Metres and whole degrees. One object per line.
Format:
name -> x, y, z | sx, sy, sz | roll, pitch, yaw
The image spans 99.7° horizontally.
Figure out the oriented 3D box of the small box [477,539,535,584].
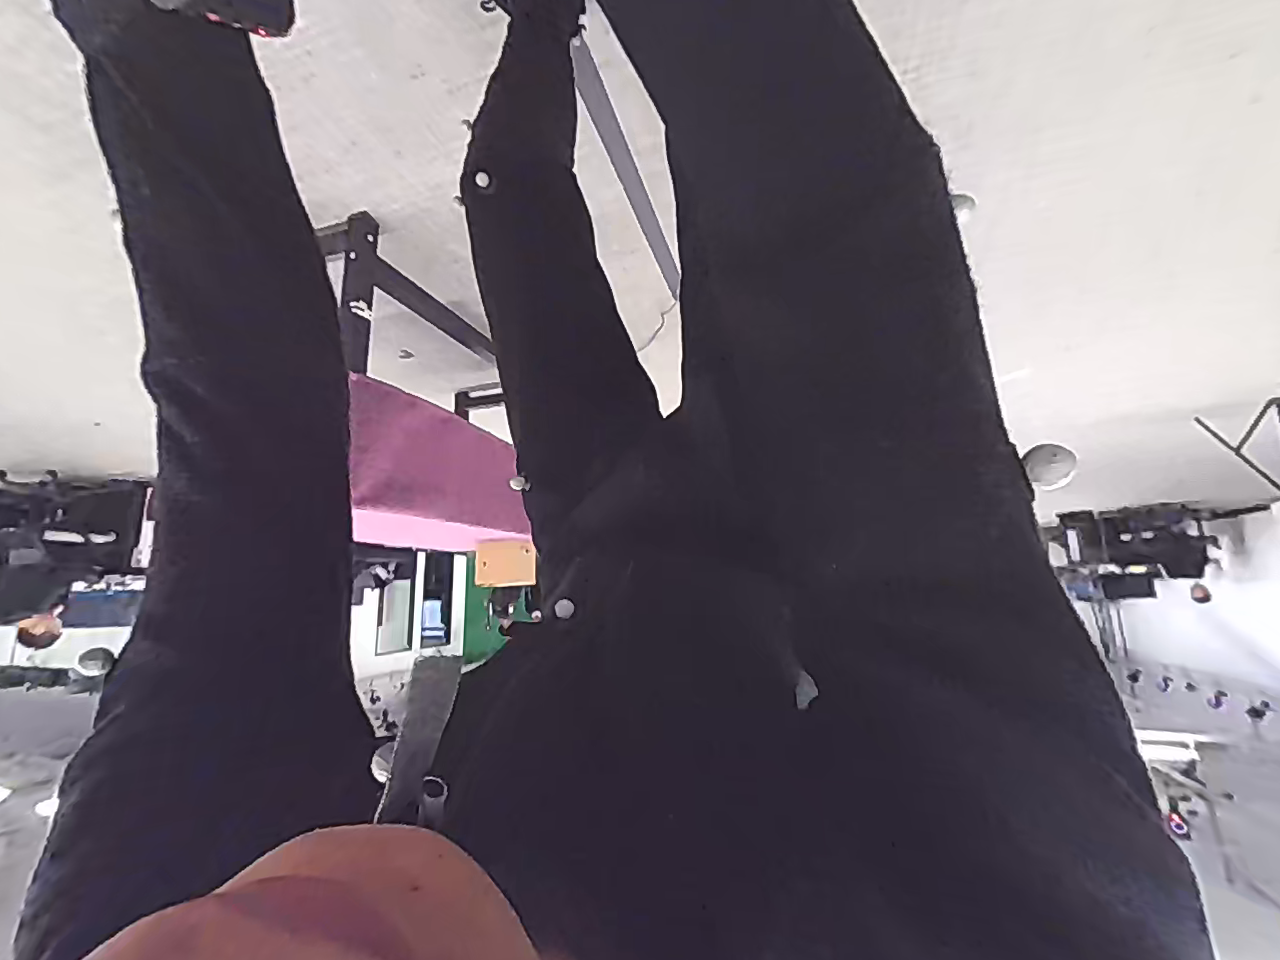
small box -> -0.533, 0.332, 2.174 | 0.179, 0.176, 0.168 | -6, 168, 21
